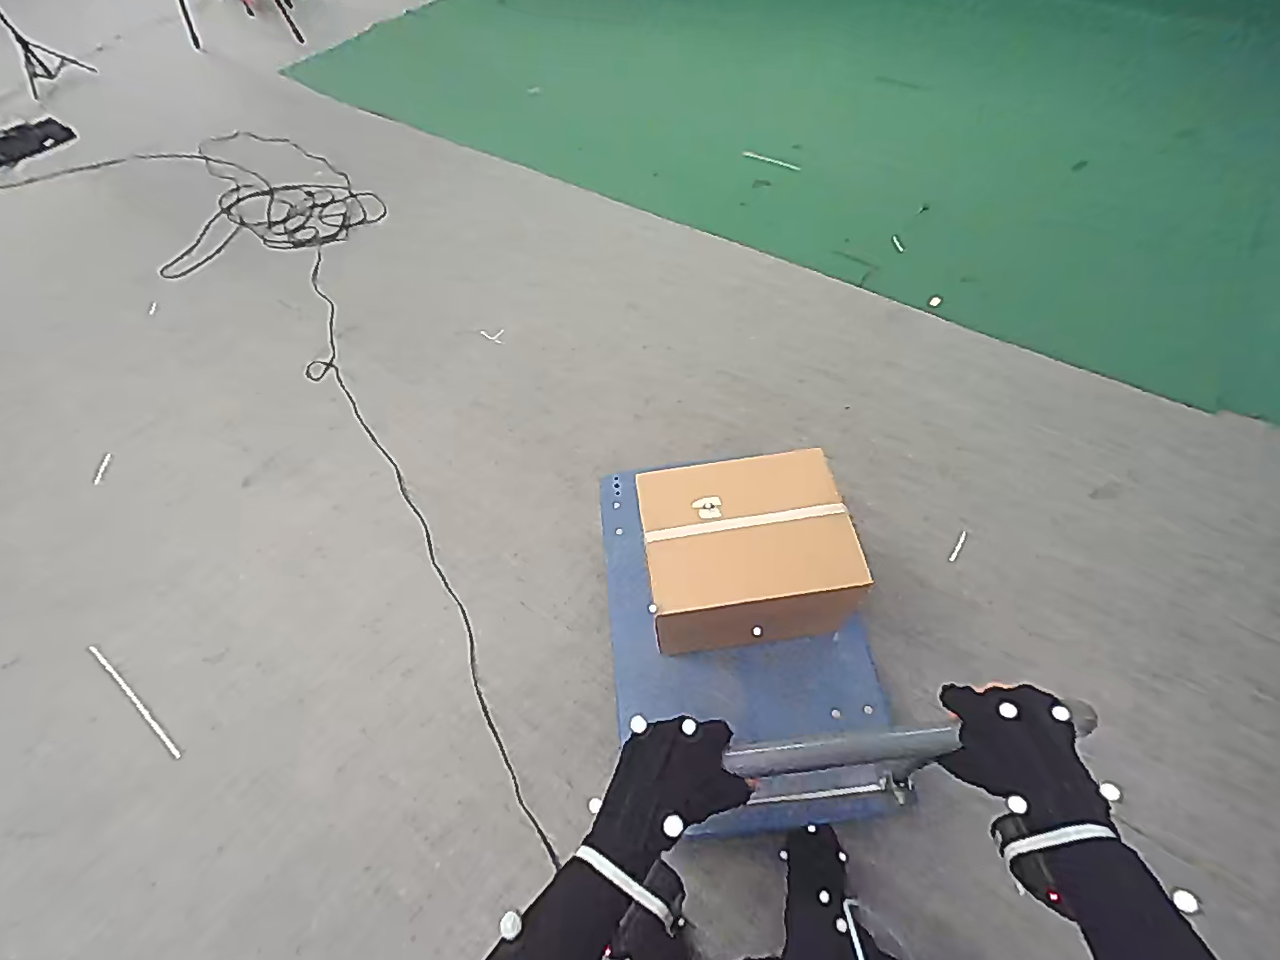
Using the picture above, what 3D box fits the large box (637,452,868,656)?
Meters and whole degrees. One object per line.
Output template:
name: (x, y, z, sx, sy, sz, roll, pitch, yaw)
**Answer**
large box: (0.222, 0.175, 1.205, 0.408, 0.320, 0.320, -9, 58, 0)
